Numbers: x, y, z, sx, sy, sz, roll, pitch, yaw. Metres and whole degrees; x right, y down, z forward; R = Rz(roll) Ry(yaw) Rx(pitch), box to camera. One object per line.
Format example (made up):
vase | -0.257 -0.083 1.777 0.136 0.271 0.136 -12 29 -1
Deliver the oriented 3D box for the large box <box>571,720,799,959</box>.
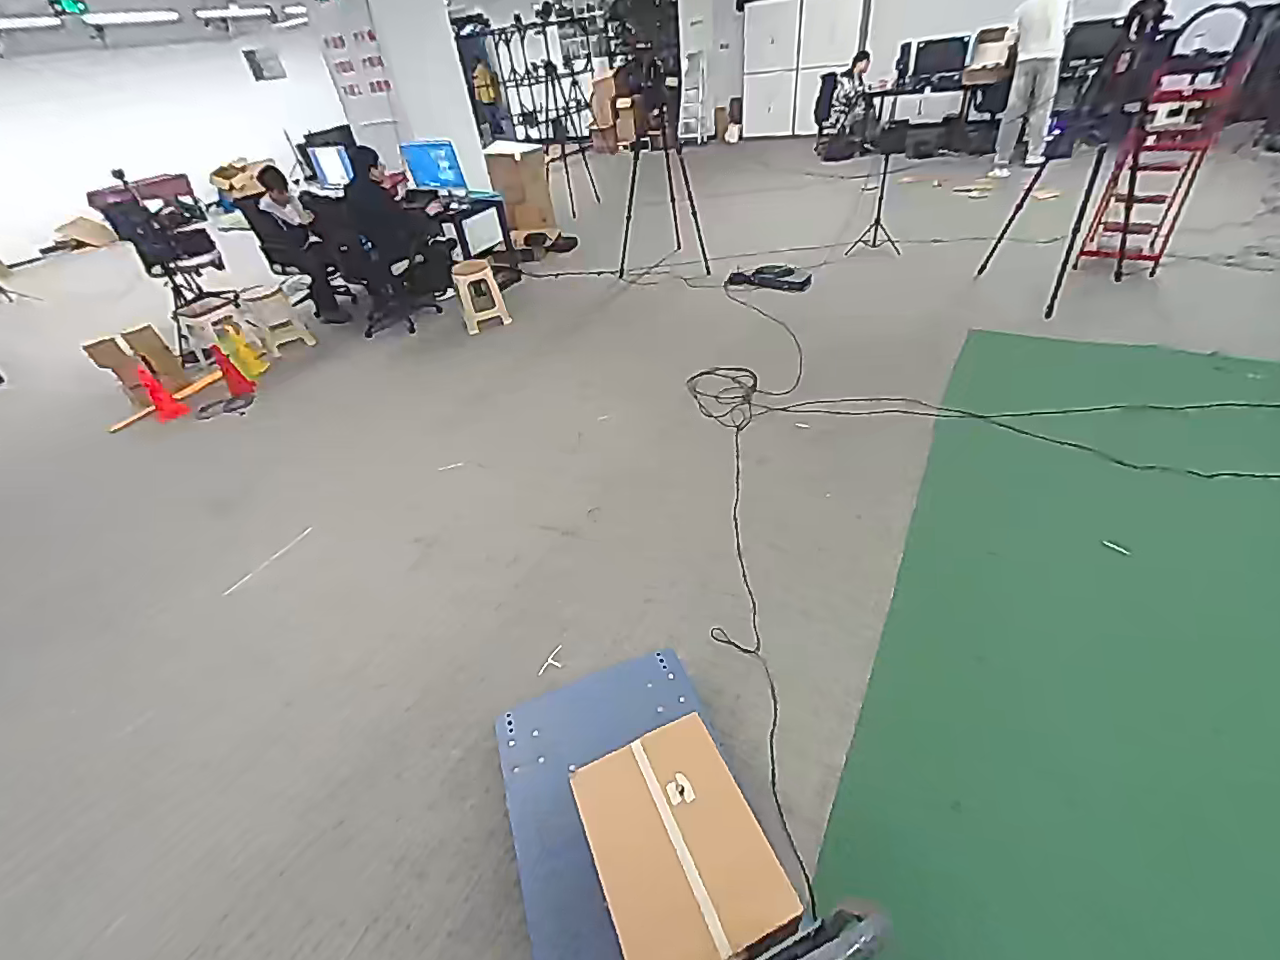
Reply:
large box | 0.086 0.821 1.149 0.320 0.320 0.408 -19 39 -15
